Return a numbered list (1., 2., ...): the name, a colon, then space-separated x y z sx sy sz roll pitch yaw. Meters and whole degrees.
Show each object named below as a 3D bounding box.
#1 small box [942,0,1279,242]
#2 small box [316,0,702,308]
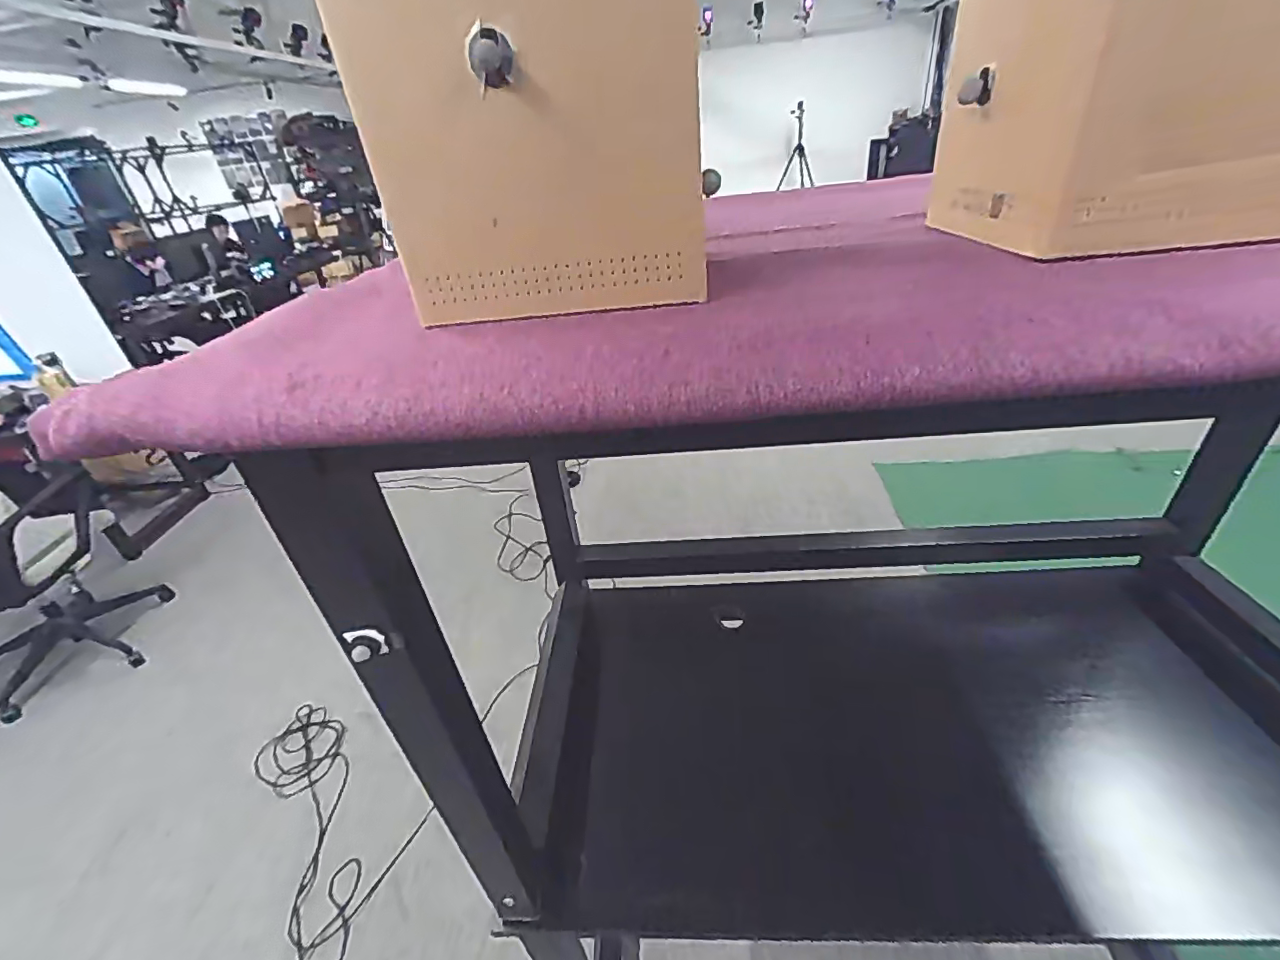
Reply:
1. small box: 0.305 -0.246 0.322 0.179 0.176 0.168 -3 32 5
2. small box: -0.056 -0.214 0.334 0.179 0.176 0.168 -4 34 4
